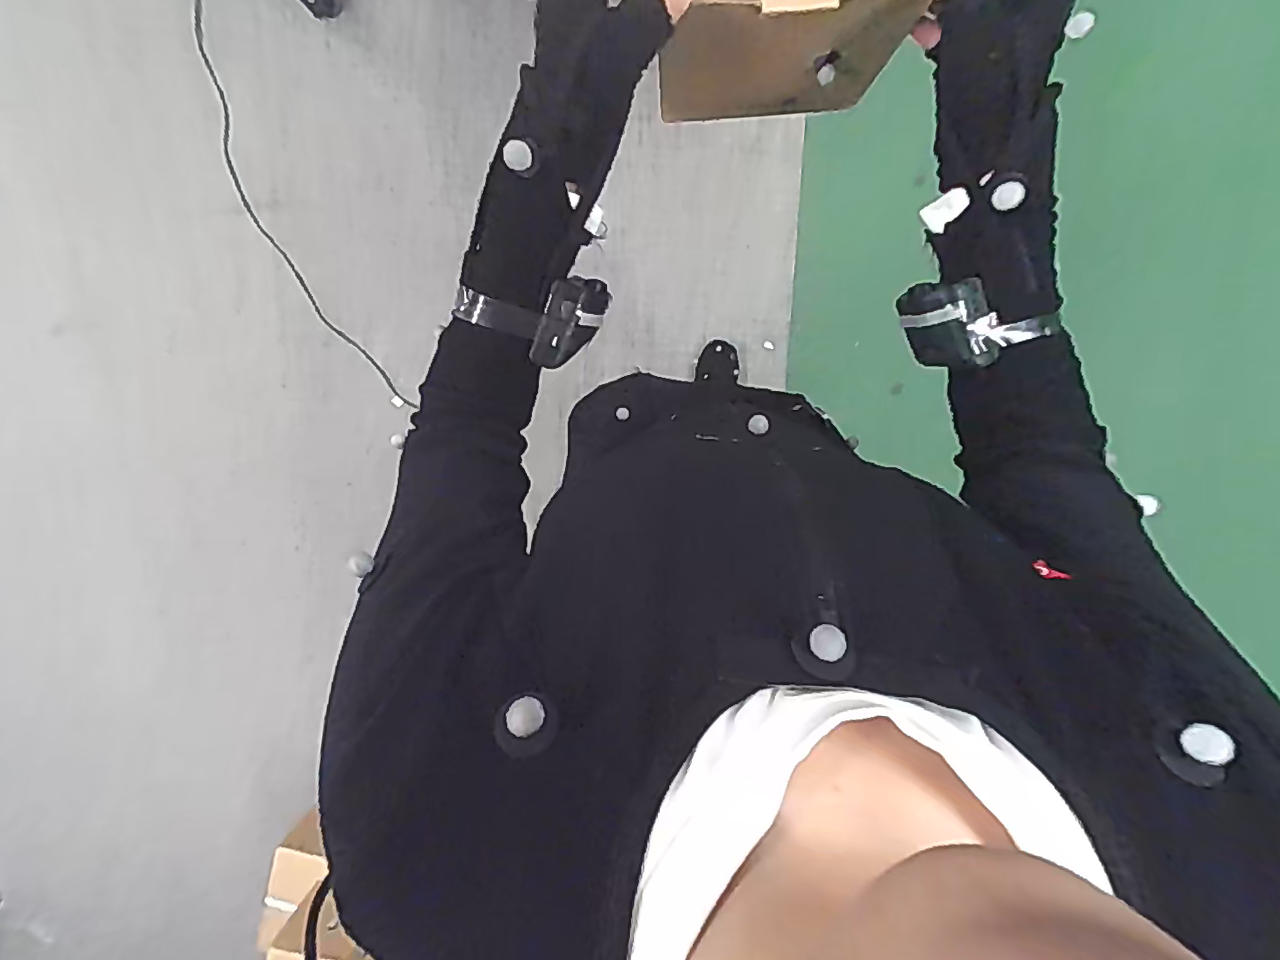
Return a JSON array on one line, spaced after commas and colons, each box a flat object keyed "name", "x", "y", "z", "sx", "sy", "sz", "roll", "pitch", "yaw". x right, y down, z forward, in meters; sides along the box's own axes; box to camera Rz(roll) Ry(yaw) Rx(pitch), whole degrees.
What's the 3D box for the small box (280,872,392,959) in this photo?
[{"name": "small box", "x": -0.711, "y": 1.073, "z": 1.277, "sx": 0.179, "sy": 0.176, "sz": 0.168, "roll": 9, "pitch": 99, "yaw": 1}]
